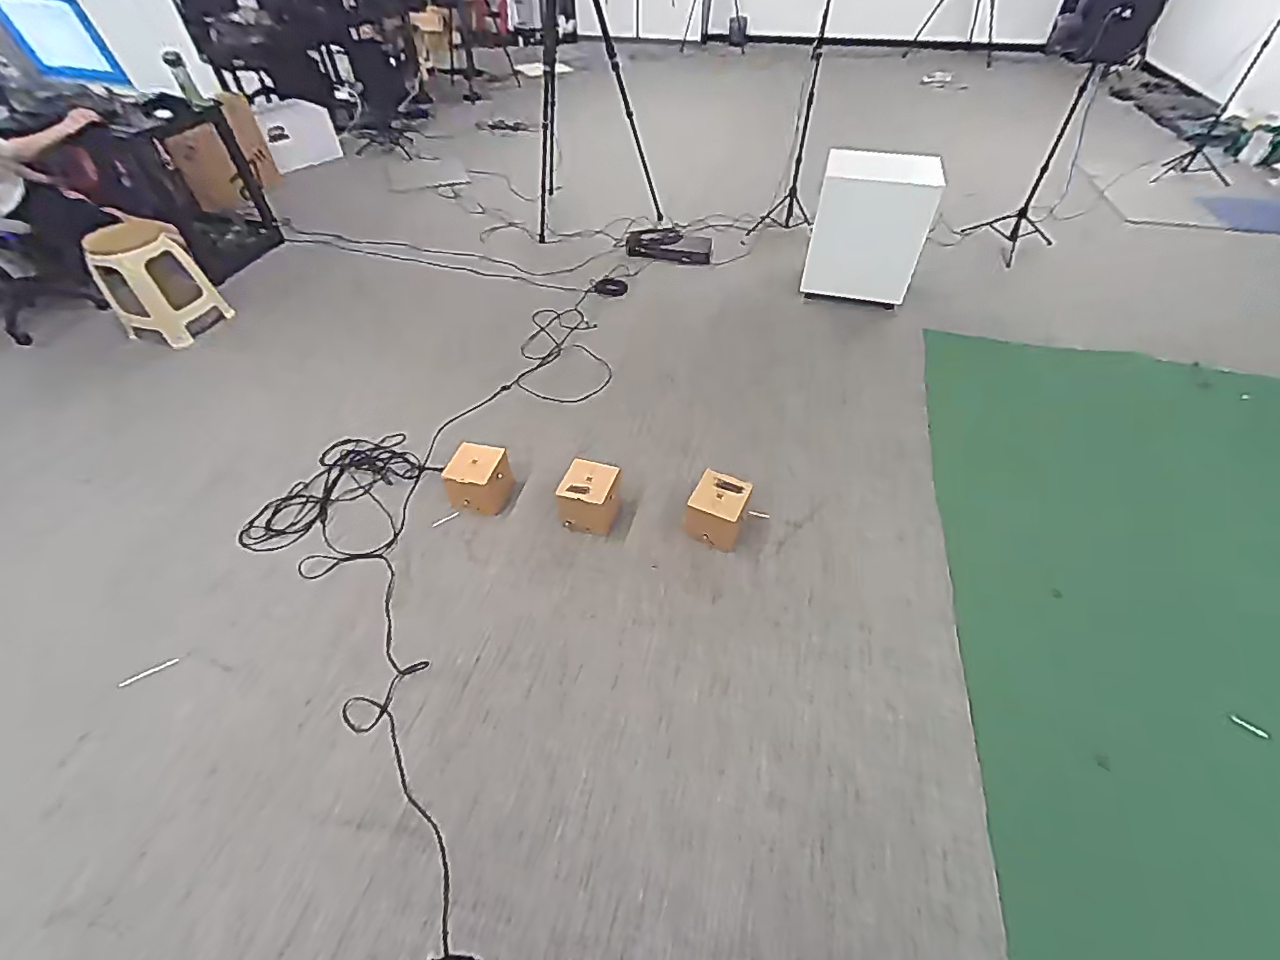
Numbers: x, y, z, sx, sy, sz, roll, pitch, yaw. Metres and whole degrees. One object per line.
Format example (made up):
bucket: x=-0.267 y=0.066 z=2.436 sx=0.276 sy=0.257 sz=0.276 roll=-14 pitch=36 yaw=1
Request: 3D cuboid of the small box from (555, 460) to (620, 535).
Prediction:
small box: x=-0.169 y=0.063 z=1.840 sx=0.168 sy=0.176 sz=0.179 roll=13 pitch=49 yaw=13

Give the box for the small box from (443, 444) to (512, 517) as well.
small box: x=-0.563 y=0.002 z=1.905 sx=0.168 sy=0.176 sz=0.179 roll=9 pitch=49 yaw=10
